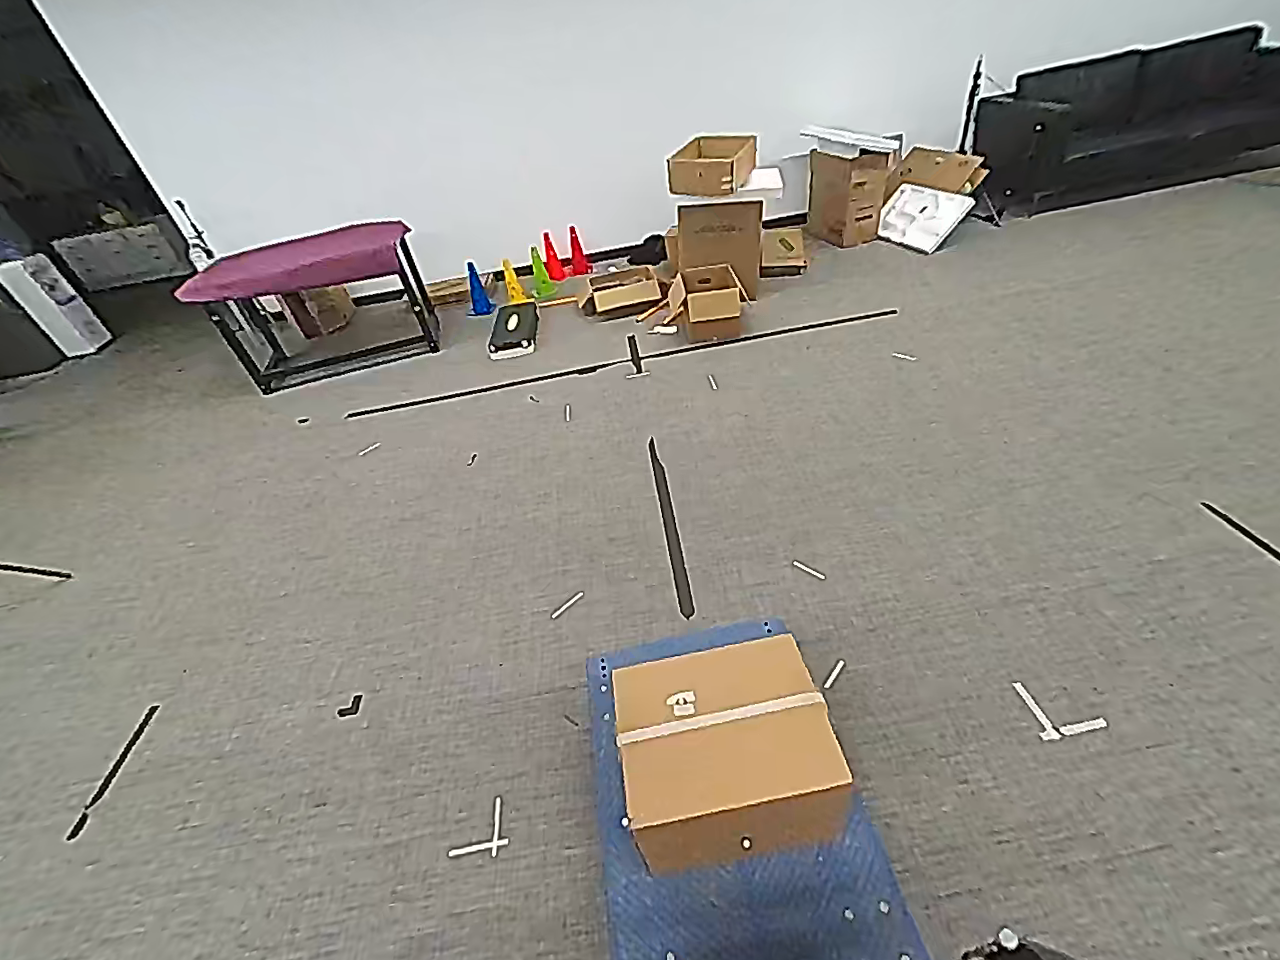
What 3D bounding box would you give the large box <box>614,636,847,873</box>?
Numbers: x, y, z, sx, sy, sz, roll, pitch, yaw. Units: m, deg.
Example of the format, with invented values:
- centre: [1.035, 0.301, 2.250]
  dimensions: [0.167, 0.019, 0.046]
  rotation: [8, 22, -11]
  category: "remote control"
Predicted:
- centre: [0.183, 0.595, 1.175]
  dimensions: [0.408, 0.320, 0.320]
  rotation: [-13, 39, -1]
  category: "large box"
